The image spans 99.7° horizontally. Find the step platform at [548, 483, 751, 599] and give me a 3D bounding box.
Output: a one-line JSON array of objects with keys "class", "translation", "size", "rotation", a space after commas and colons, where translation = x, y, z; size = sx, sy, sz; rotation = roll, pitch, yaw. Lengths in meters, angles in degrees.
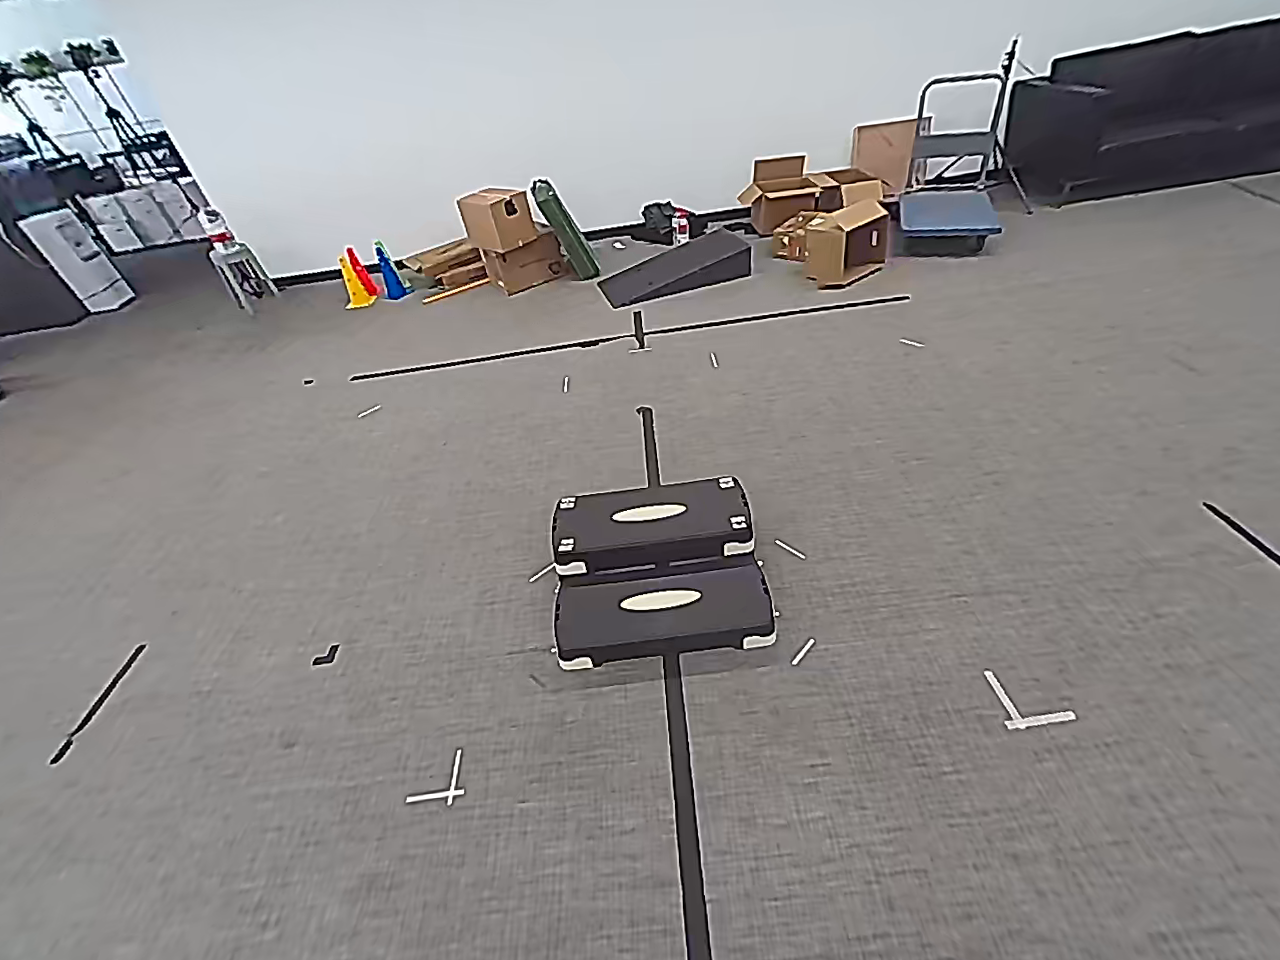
[{"class": "step platform", "translation": [0.030, 0.202, 1.859], "size": [0.684, 0.204, 0.286], "rotation": [-7, 41, 1]}]
